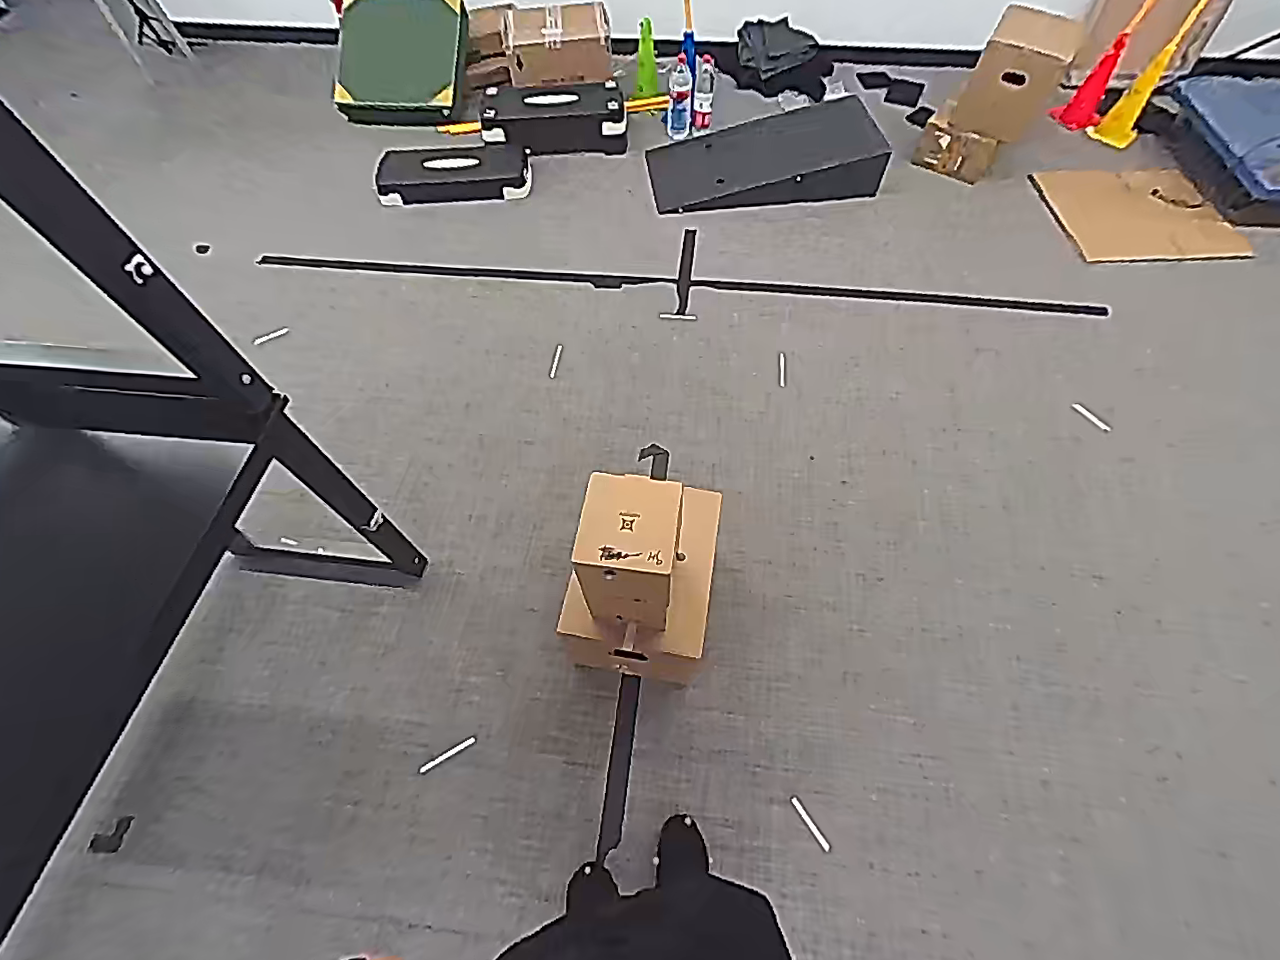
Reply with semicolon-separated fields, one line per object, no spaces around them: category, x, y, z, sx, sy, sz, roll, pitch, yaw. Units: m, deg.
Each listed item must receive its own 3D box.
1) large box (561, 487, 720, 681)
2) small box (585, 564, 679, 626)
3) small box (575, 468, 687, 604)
large box;0.014;0.251;1.359;0.320;0.320;0.408;10;59;5
small box;-0.008;0.182;1.117;0.168;0.176;0.179;9;61;7
small box;-0.010;0.103;0.973;0.168;0.176;0.179;7;59;7
